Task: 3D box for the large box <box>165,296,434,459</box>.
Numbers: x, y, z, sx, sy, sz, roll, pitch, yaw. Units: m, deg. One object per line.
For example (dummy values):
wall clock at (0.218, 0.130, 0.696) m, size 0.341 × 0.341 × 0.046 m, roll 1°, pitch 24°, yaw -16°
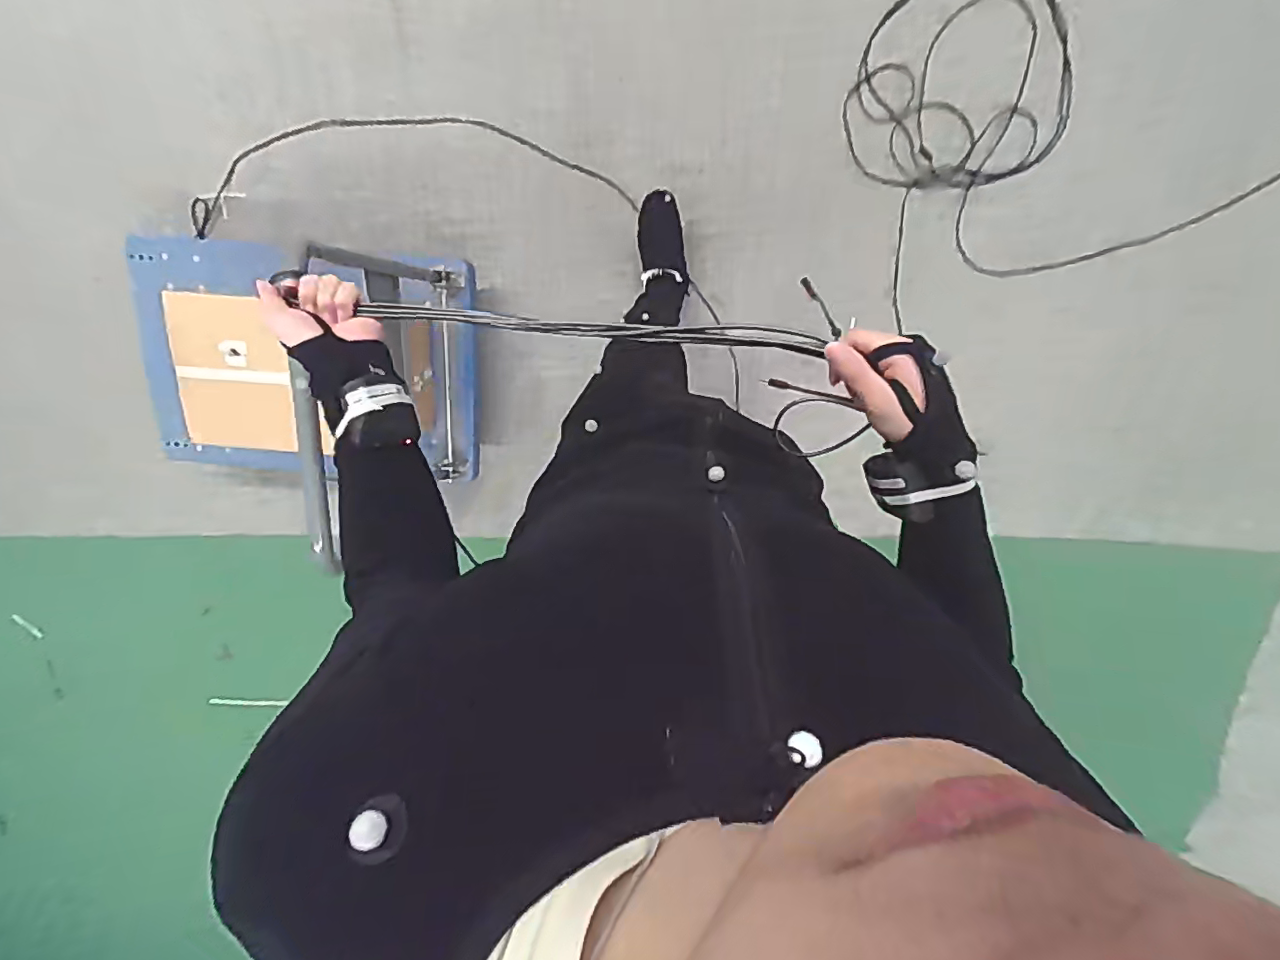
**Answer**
large box at (-0.737, -0.246, 1.239) m, size 0.408 × 0.320 × 0.320 m, roll 5°, pitch 106°, yaw 3°
